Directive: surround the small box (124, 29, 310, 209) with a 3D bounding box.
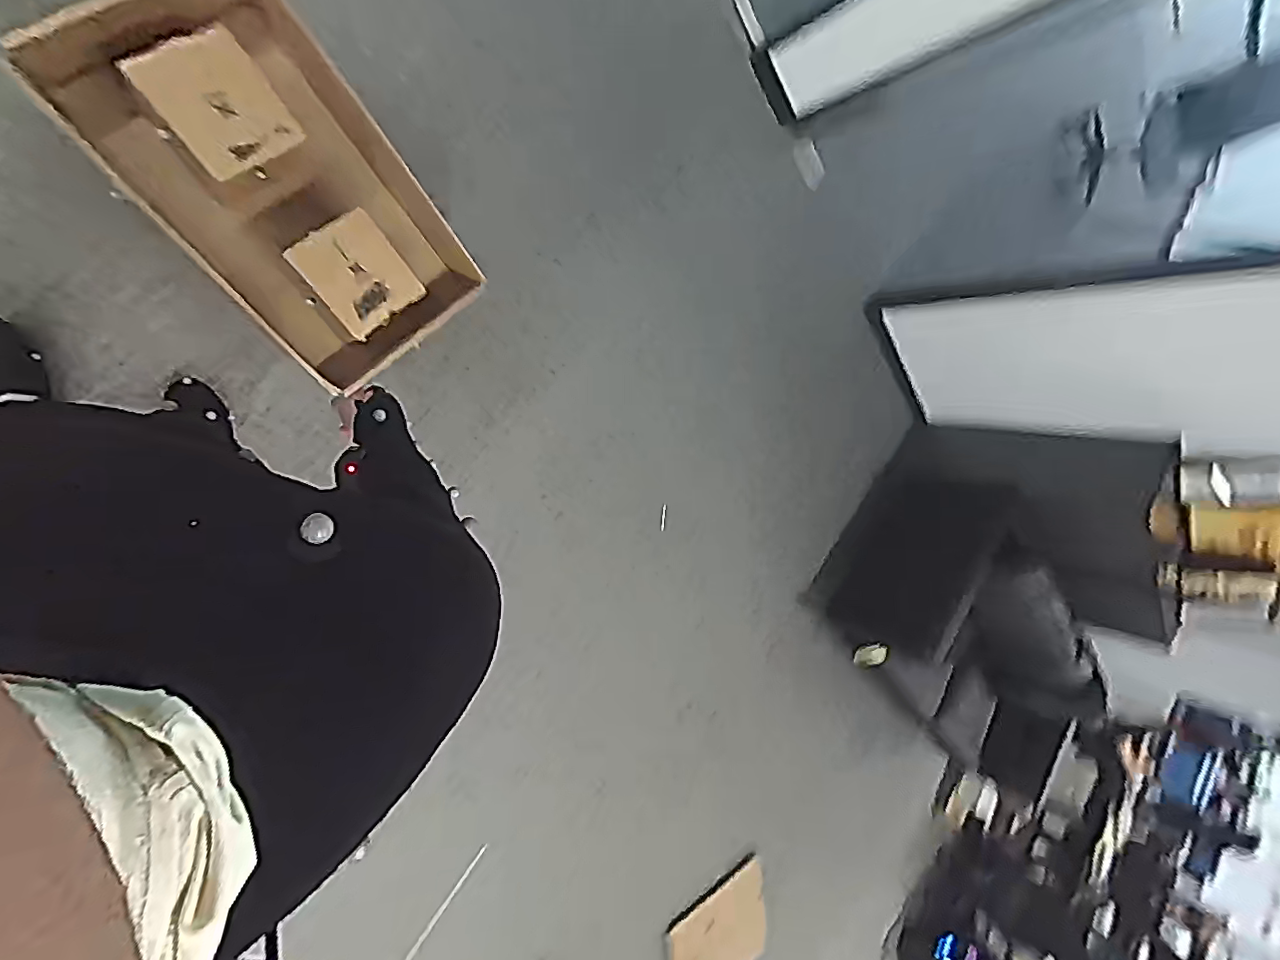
[{"bbox_3d":[-0.698,-0.595,0.911,0.168,0.176,0.179,-44,120,-21],"label":"small box"}]
